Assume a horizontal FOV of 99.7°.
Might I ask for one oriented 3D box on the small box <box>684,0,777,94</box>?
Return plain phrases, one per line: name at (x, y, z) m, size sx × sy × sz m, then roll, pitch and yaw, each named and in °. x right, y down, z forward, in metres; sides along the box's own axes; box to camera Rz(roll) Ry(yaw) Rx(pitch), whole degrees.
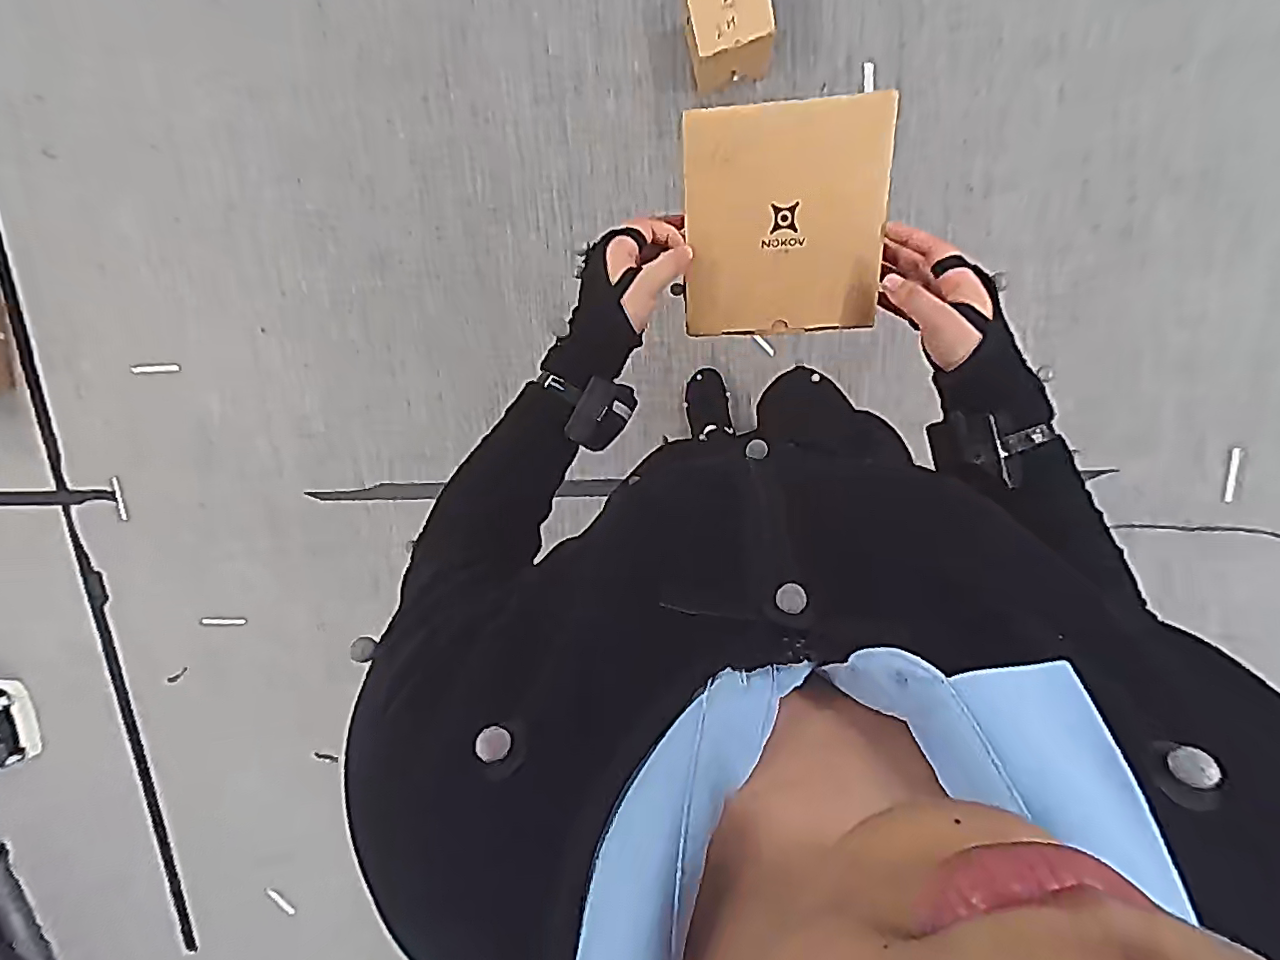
small box at (0.194, -1.012, 1.200) m, size 0.168 × 0.176 × 0.179 m, roll -14°, pitch 100°, yaw 9°
